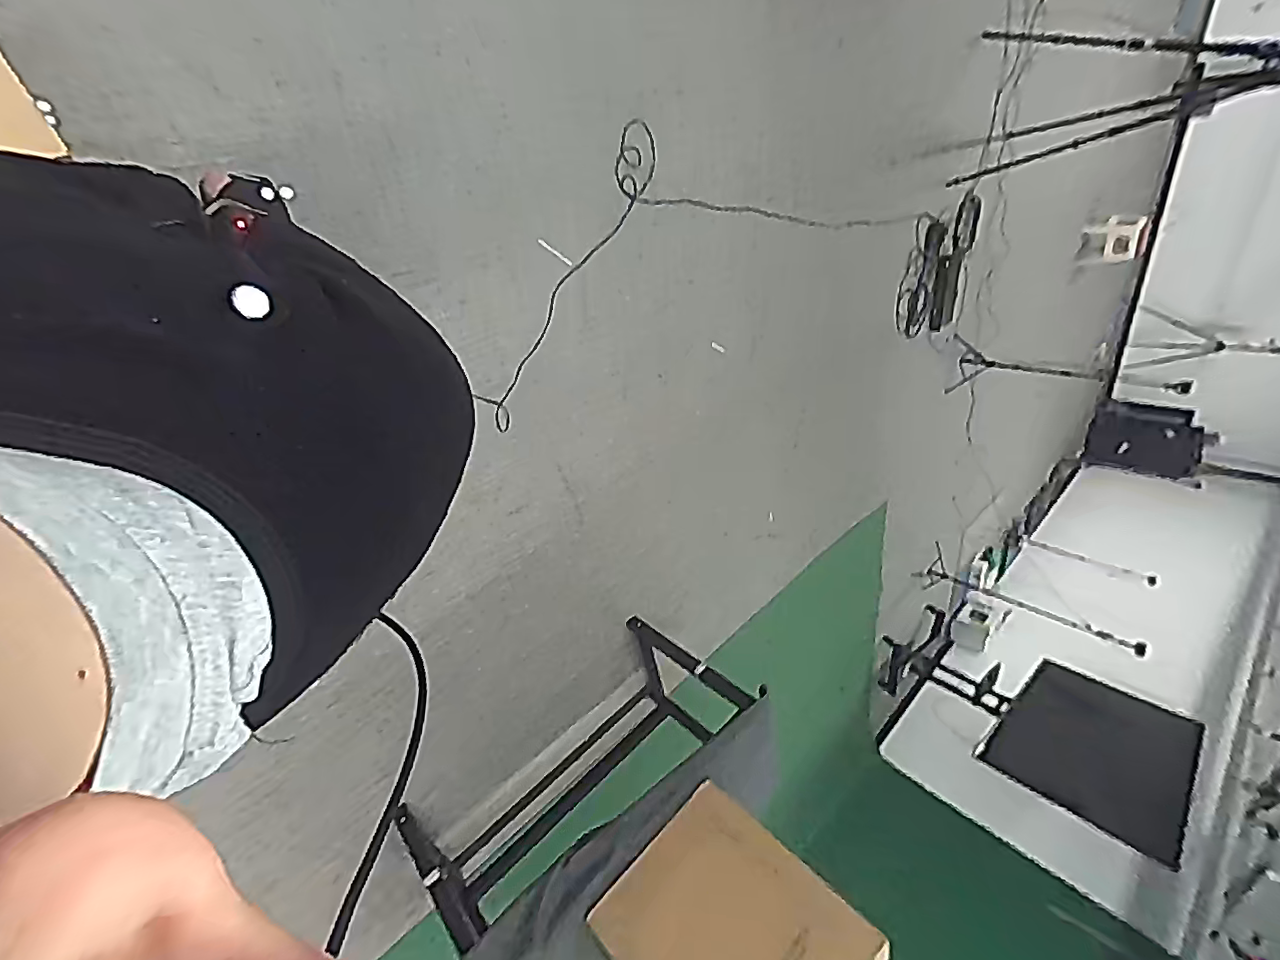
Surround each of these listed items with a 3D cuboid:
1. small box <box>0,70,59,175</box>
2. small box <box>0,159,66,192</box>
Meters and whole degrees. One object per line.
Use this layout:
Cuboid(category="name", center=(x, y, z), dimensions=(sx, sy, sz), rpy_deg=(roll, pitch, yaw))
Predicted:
Cuboid(category="small box", center=(-0.988, -0.533, 0.766), dimensions=(0.168, 0.176, 0.179), rpy_deg=(-36, 129, -28))
Cuboid(category="small box", center=(-1.099, -0.576, 0.876), dimensions=(0.168, 0.176, 0.179), rpy_deg=(-37, 130, -27))
